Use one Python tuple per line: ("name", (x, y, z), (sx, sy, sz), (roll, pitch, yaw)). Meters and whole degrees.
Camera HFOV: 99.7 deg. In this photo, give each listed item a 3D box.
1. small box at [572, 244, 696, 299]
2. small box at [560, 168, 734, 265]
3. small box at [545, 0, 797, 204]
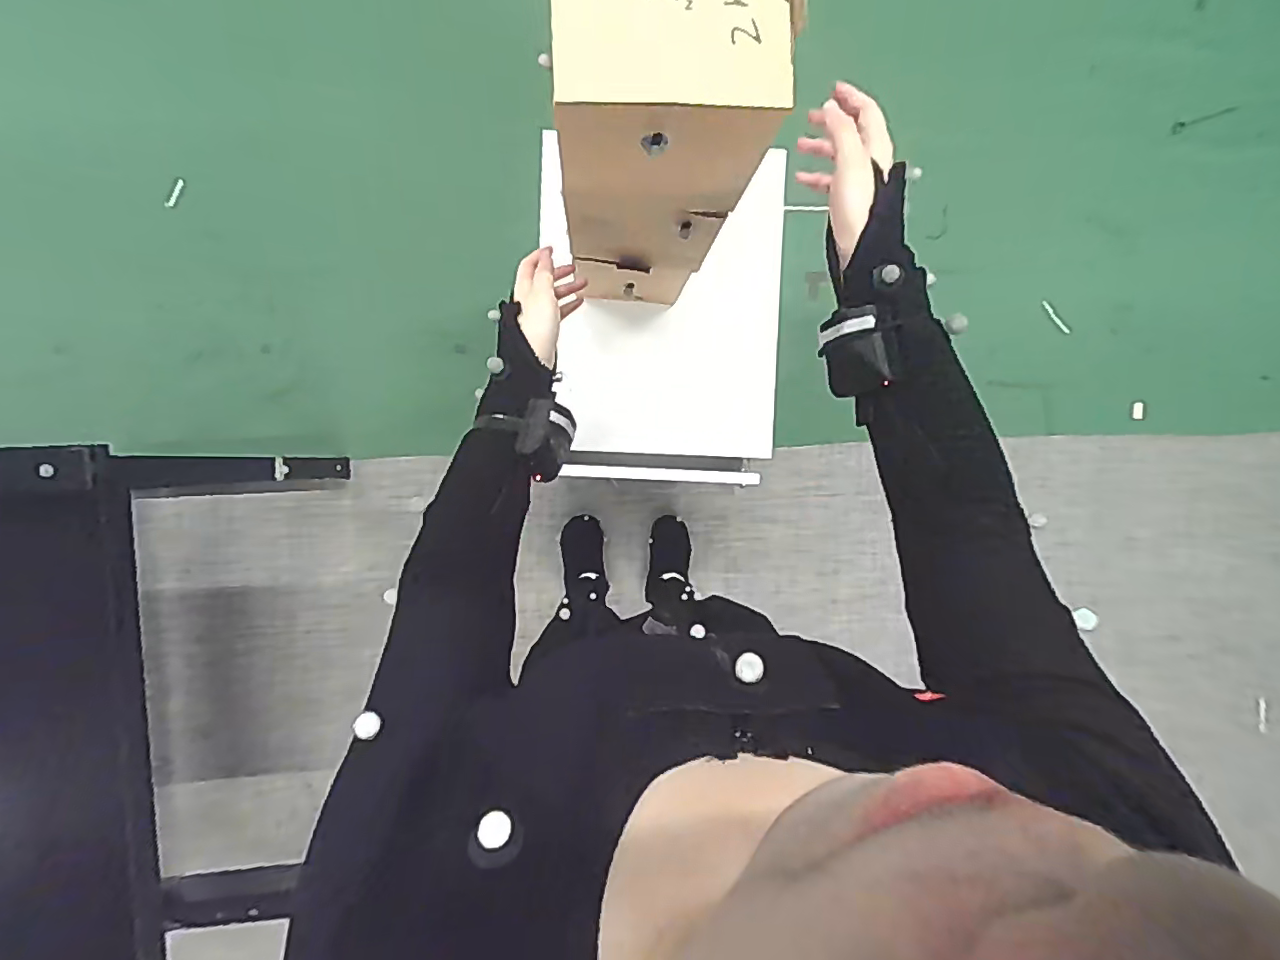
("small box", (-0.007, -0.371, 0.775), (0.168, 0.176, 0.179), (3, 93, -5))
("small box", (0.008, -0.361, 0.614), (0.179, 0.176, 0.168), (5, 92, -5))
("small box", (0.016, -0.348, 0.450), (0.179, 0.176, 0.168), (-2, 94, -5))
